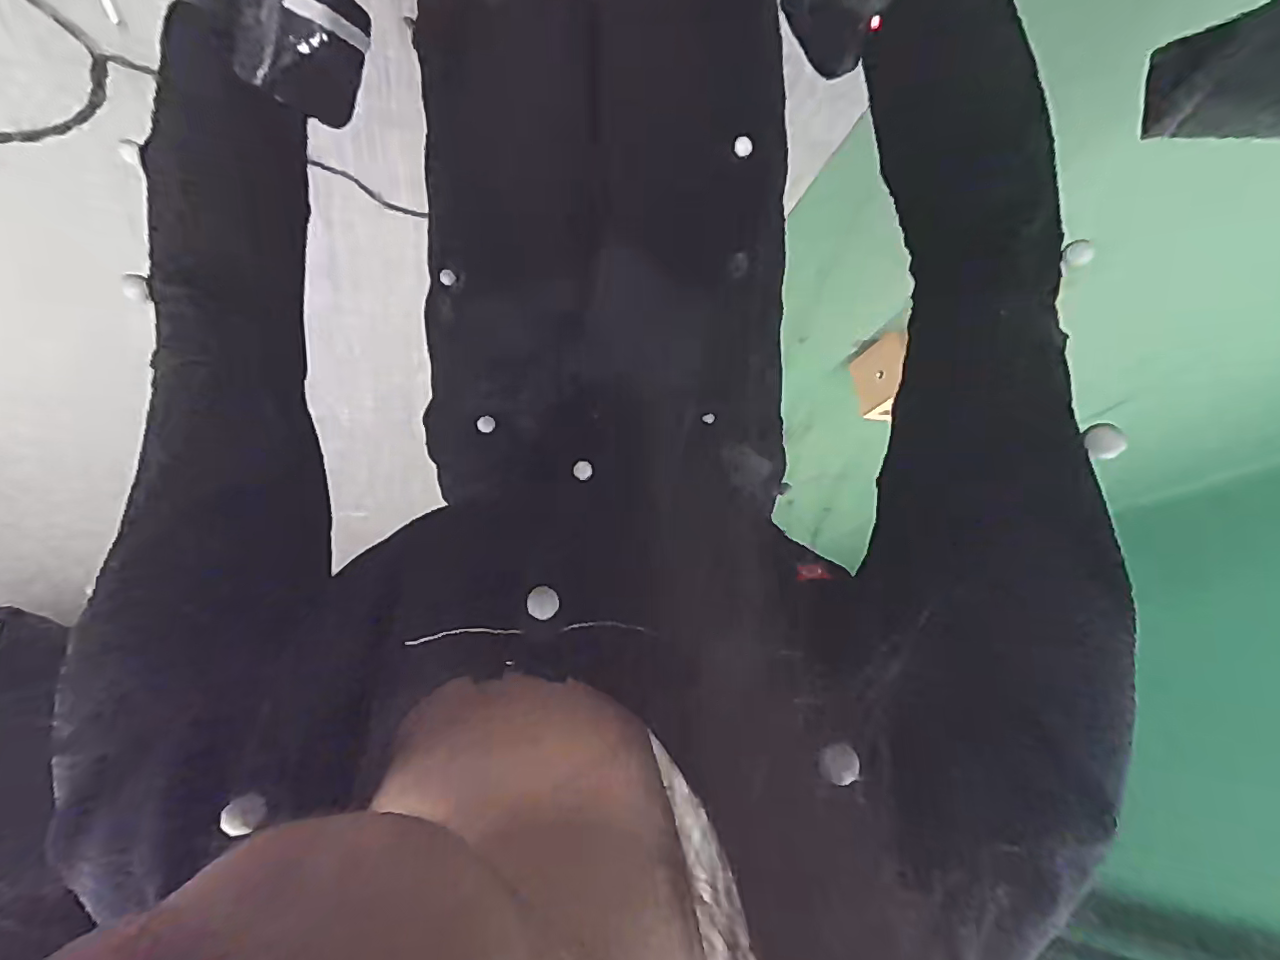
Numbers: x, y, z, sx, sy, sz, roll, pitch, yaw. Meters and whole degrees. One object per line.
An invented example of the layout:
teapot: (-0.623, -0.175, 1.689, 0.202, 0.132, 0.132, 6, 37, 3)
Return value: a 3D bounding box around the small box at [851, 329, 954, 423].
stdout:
small box: (0.696, -0.275, 1.456, 0.168, 0.176, 0.179, 4, 155, -24)
